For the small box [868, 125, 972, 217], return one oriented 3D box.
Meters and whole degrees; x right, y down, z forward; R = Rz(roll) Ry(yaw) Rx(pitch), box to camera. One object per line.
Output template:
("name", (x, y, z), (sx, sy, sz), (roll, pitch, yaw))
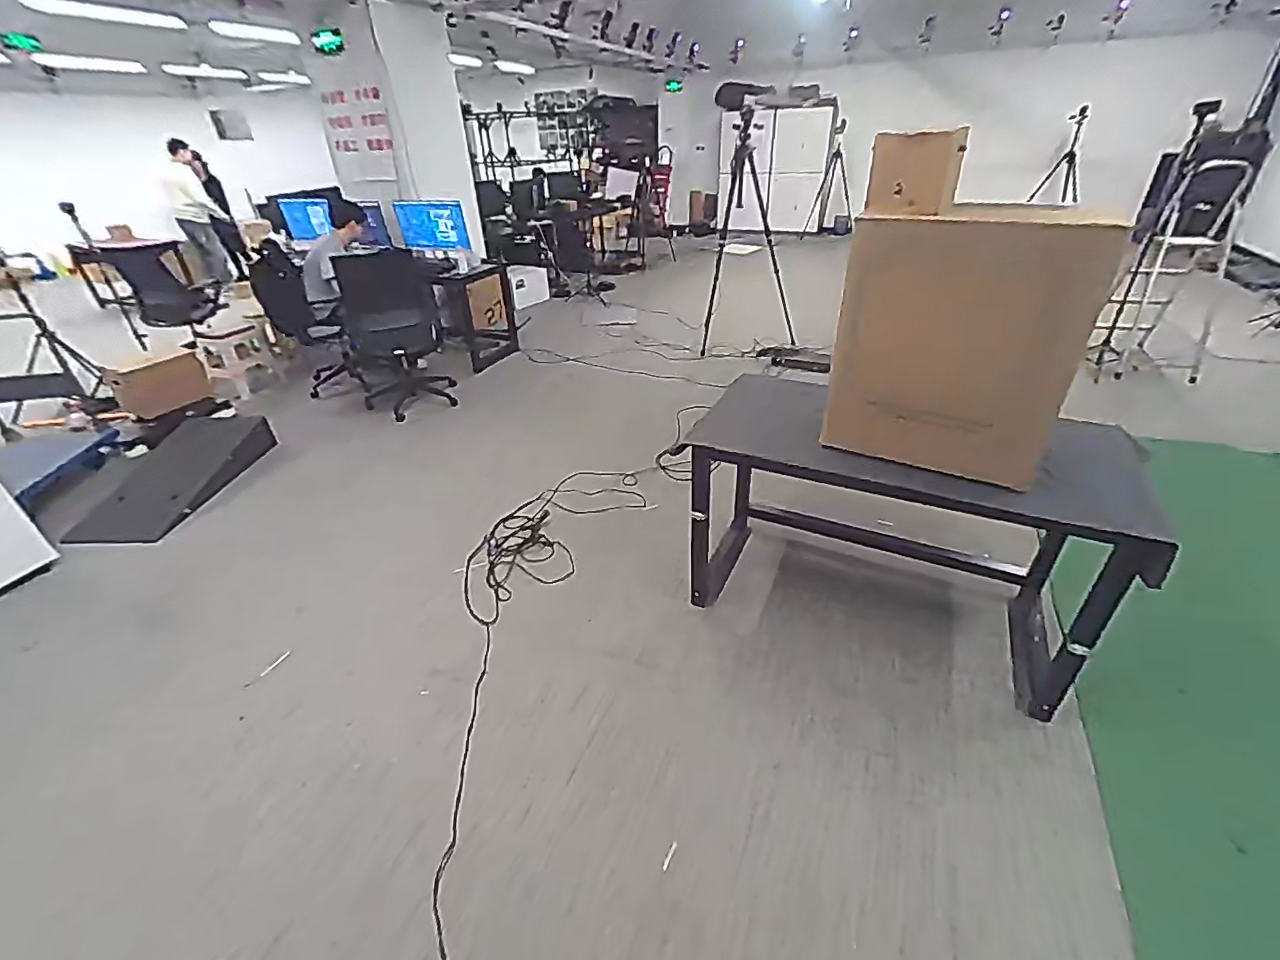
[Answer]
("small box", (0.653, -0.730, 1.272), (0.168, 0.176, 0.179), (20, 41, 30))
